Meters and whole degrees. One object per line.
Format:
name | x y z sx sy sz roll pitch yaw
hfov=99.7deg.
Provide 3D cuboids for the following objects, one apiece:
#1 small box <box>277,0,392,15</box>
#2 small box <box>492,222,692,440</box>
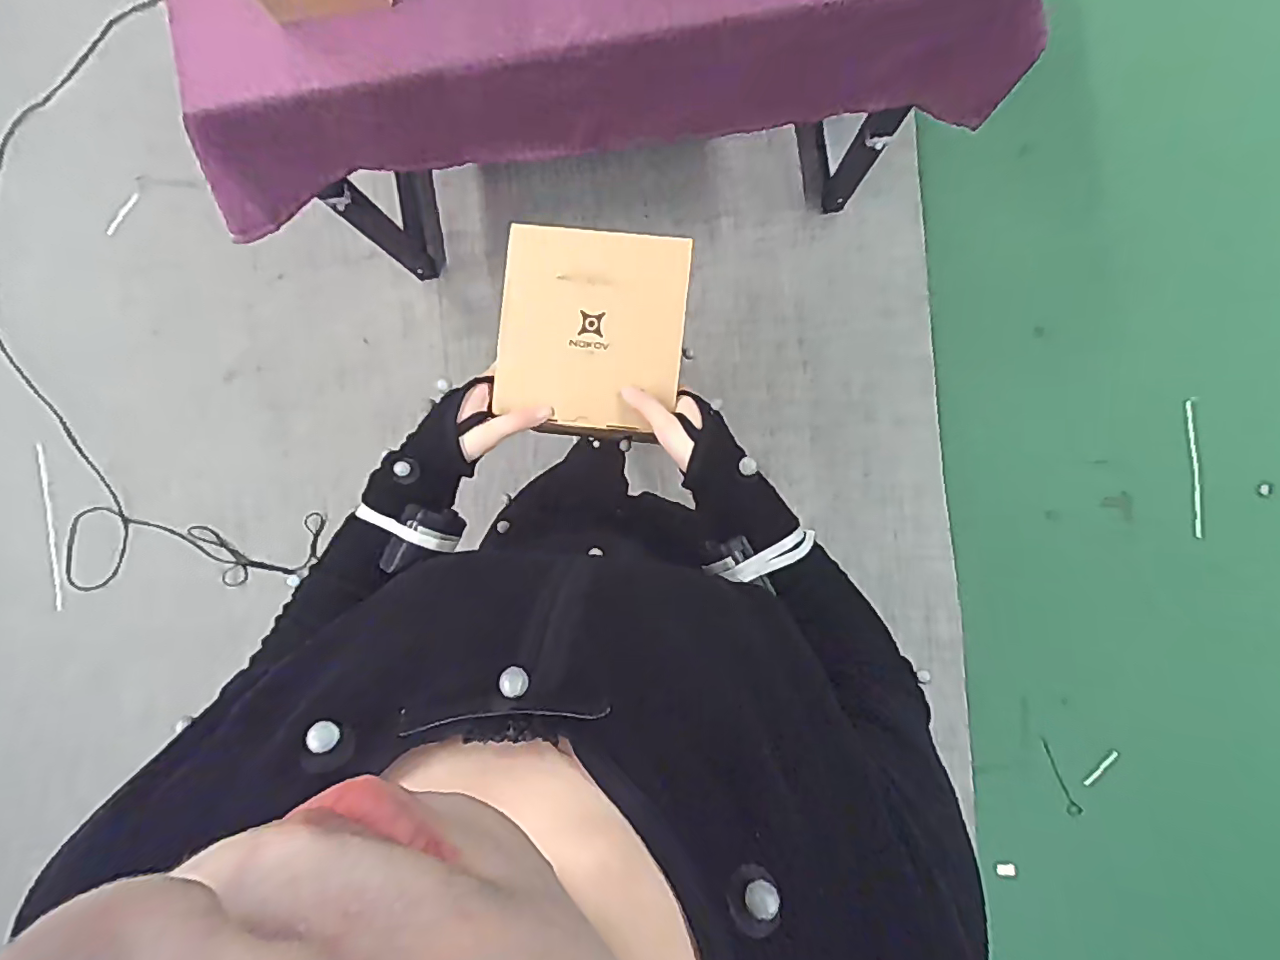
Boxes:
small box | -0.437 -0.753 0.698 0.179 0.176 0.168 -6 90 2
small box | -0.039 -0.139 0.565 0.168 0.176 0.179 7 90 3
